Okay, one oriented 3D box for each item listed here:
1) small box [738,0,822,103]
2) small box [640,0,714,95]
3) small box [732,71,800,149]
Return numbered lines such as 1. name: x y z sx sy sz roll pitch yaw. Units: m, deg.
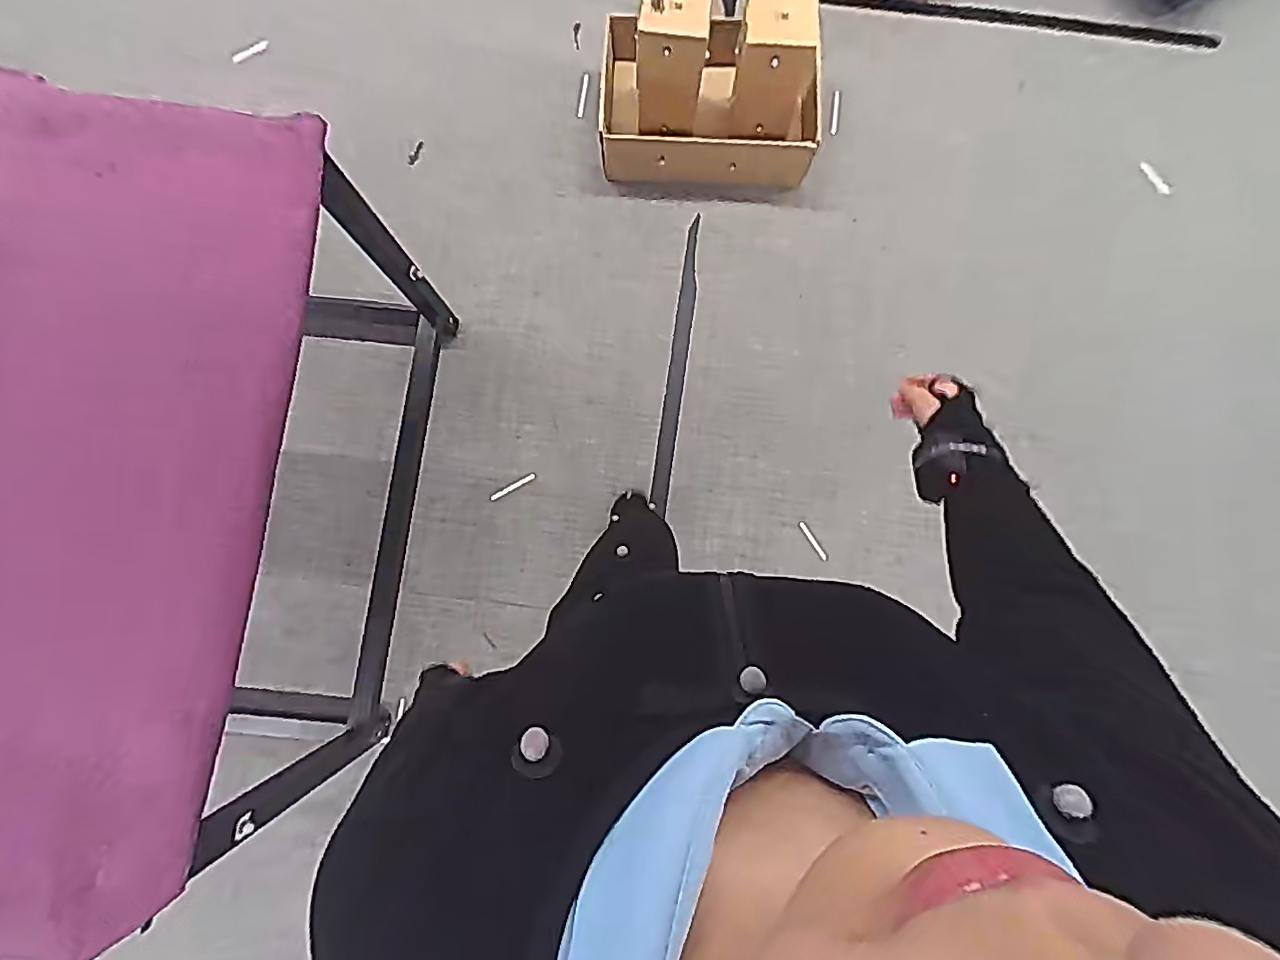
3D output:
1. small box: 0.360 -1.122 1.408 0.179 0.176 0.168 3 82 2
2. small box: 0.093 -1.149 1.409 0.179 0.176 0.168 5 82 -2
3. small box: 0.364 -1.099 1.569 0.168 0.176 0.179 4 81 0
